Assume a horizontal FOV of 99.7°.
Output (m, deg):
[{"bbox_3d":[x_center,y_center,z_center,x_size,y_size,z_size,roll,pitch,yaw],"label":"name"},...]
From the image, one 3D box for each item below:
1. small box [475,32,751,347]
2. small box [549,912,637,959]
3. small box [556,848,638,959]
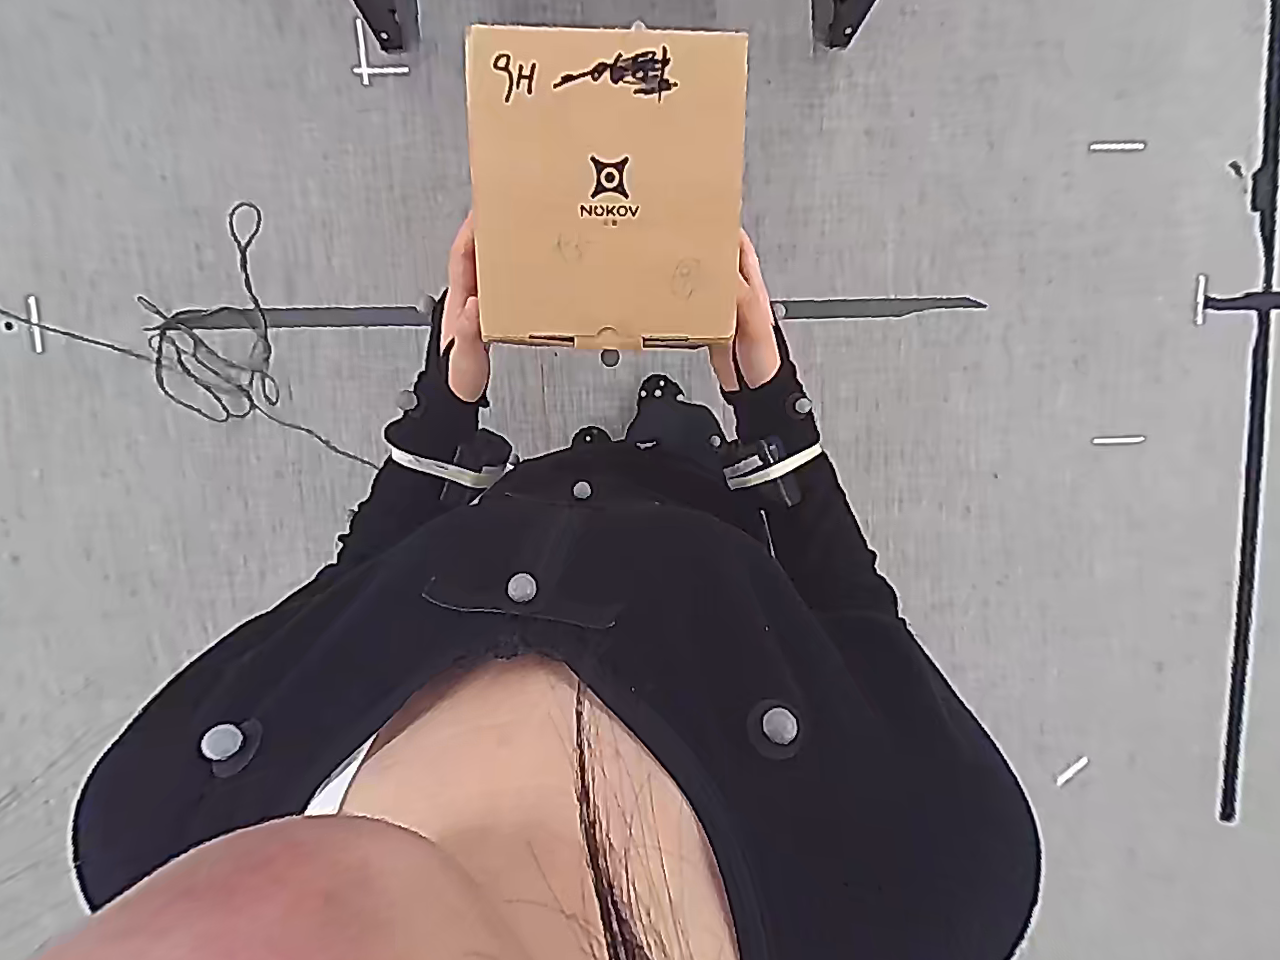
[{"bbox_3d":[-0.019,-0.194,0.414,0.168,0.176,0.179,0,103,-2],"label":"small box"},{"bbox_3d":[-0.087,0.979,1.044,0.168,0.176,0.179,-7,97,-2],"label":"small box"},{"bbox_3d":[-0.091,0.969,1.206,0.168,0.176,0.179,-5,95,-3],"label":"small box"}]
